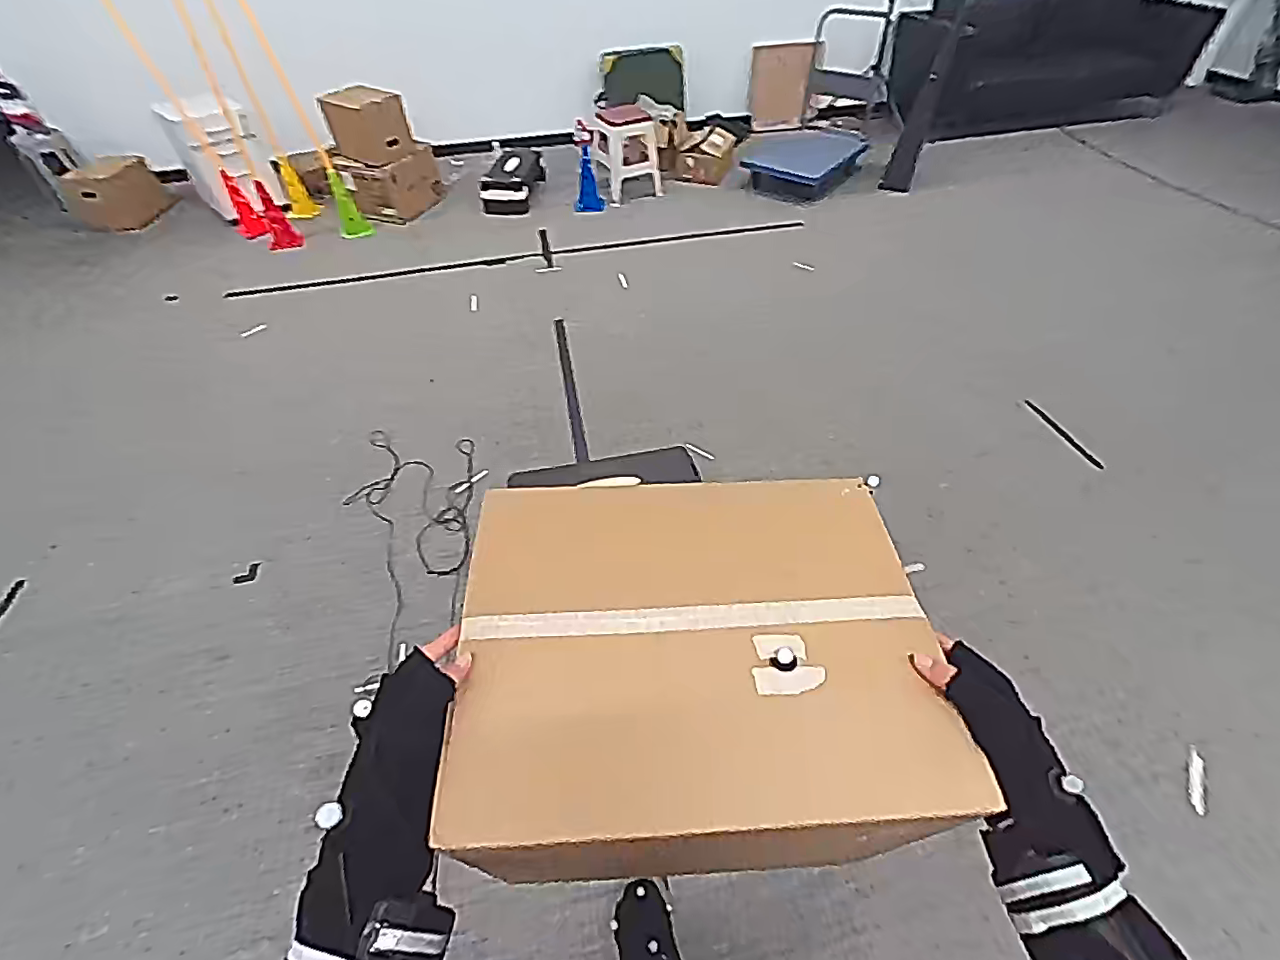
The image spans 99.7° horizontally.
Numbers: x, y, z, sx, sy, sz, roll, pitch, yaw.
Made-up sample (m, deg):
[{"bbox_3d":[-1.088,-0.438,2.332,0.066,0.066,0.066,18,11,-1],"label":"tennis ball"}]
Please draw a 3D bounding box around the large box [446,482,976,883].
[{"bbox_3d":[0.043,0.224,0.601,0.408,0.320,0.320,-2,49,-4],"label":"large box"}]
